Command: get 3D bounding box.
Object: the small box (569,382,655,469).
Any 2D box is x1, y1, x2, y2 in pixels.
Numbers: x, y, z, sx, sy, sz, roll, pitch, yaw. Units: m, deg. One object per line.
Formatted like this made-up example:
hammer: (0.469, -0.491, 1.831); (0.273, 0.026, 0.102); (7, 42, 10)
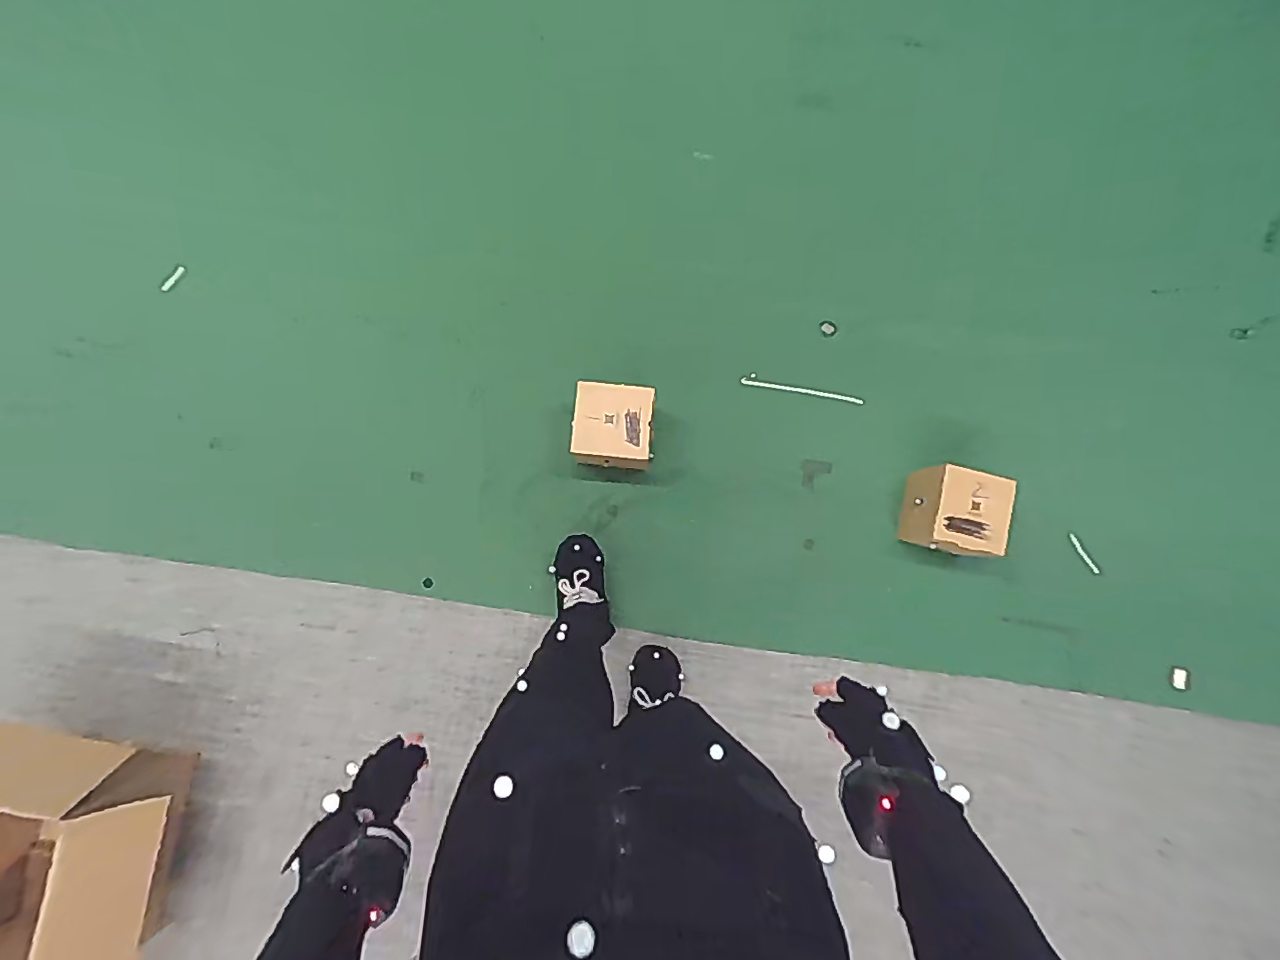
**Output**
small box: (-0.064, -0.120, 1.270); (0.179, 0.176, 0.168); (6, 84, 0)
